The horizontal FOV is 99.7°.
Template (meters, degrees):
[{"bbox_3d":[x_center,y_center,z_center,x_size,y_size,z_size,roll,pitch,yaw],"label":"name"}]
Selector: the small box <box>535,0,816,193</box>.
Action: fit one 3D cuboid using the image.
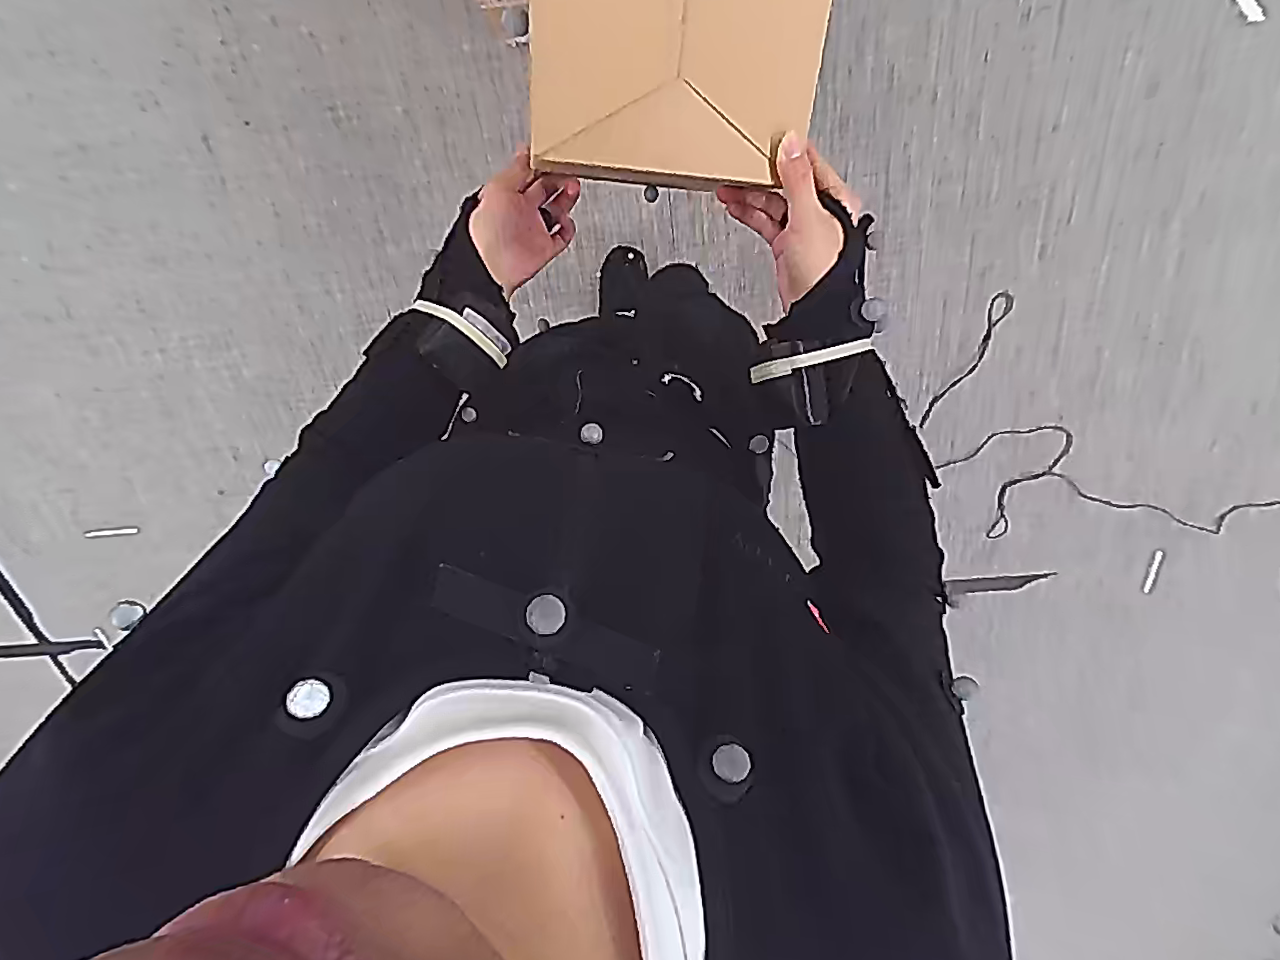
[{"bbox_3d":[0.014,-0.308,0.393,0.179,0.176,0.168,0,116,-12],"label":"small box"}]
